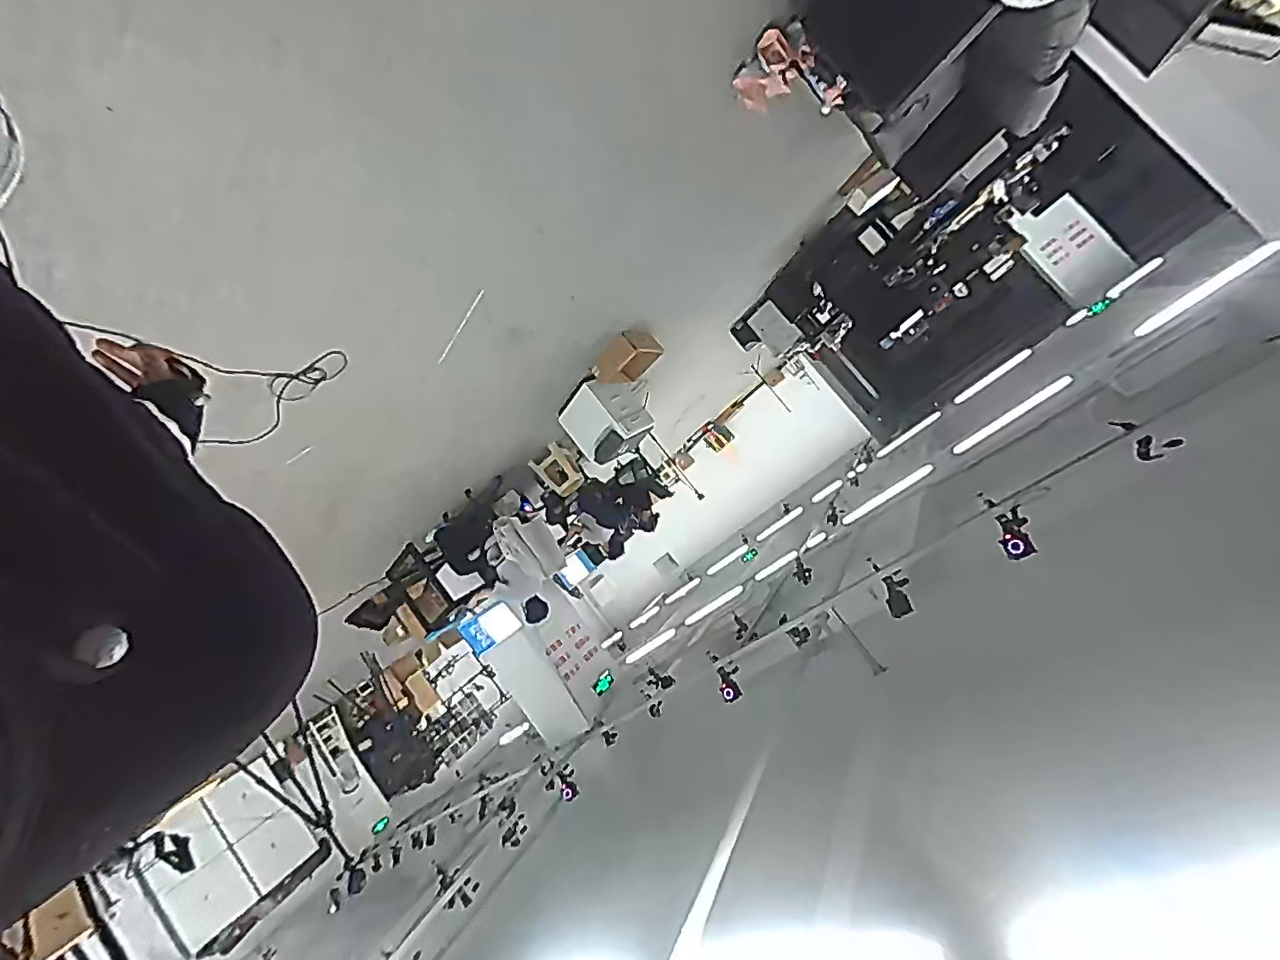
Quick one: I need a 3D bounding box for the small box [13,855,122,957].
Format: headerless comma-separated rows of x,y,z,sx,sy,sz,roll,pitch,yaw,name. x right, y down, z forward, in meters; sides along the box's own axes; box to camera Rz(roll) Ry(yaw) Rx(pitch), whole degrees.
-1.733,1.286,1.639,0.168,0.176,0.179,-43,173,34,small box

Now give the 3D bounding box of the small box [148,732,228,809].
-1.656,1.057,1.977,0.179,0.176,0.168,-42,173,34,small box
